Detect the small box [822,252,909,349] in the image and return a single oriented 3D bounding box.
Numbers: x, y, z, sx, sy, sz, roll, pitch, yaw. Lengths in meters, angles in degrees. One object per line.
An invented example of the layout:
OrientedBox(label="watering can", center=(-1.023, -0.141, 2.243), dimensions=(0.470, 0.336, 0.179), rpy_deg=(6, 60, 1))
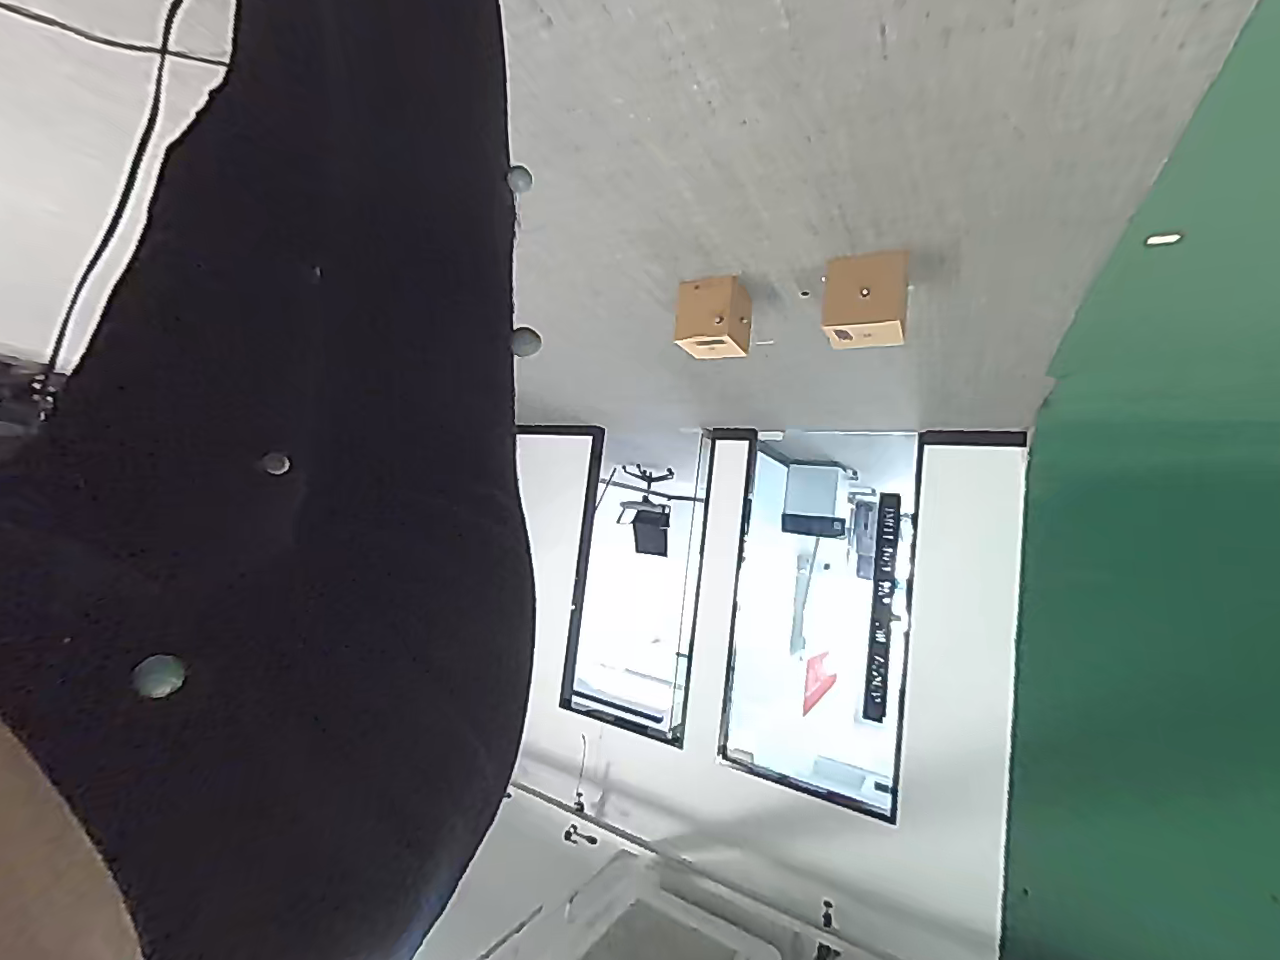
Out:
OrientedBox(label="small box", center=(0.558, -0.436, 1.330), dimensions=(0.179, 0.176, 0.168), rpy_deg=(2, 175, 29))
